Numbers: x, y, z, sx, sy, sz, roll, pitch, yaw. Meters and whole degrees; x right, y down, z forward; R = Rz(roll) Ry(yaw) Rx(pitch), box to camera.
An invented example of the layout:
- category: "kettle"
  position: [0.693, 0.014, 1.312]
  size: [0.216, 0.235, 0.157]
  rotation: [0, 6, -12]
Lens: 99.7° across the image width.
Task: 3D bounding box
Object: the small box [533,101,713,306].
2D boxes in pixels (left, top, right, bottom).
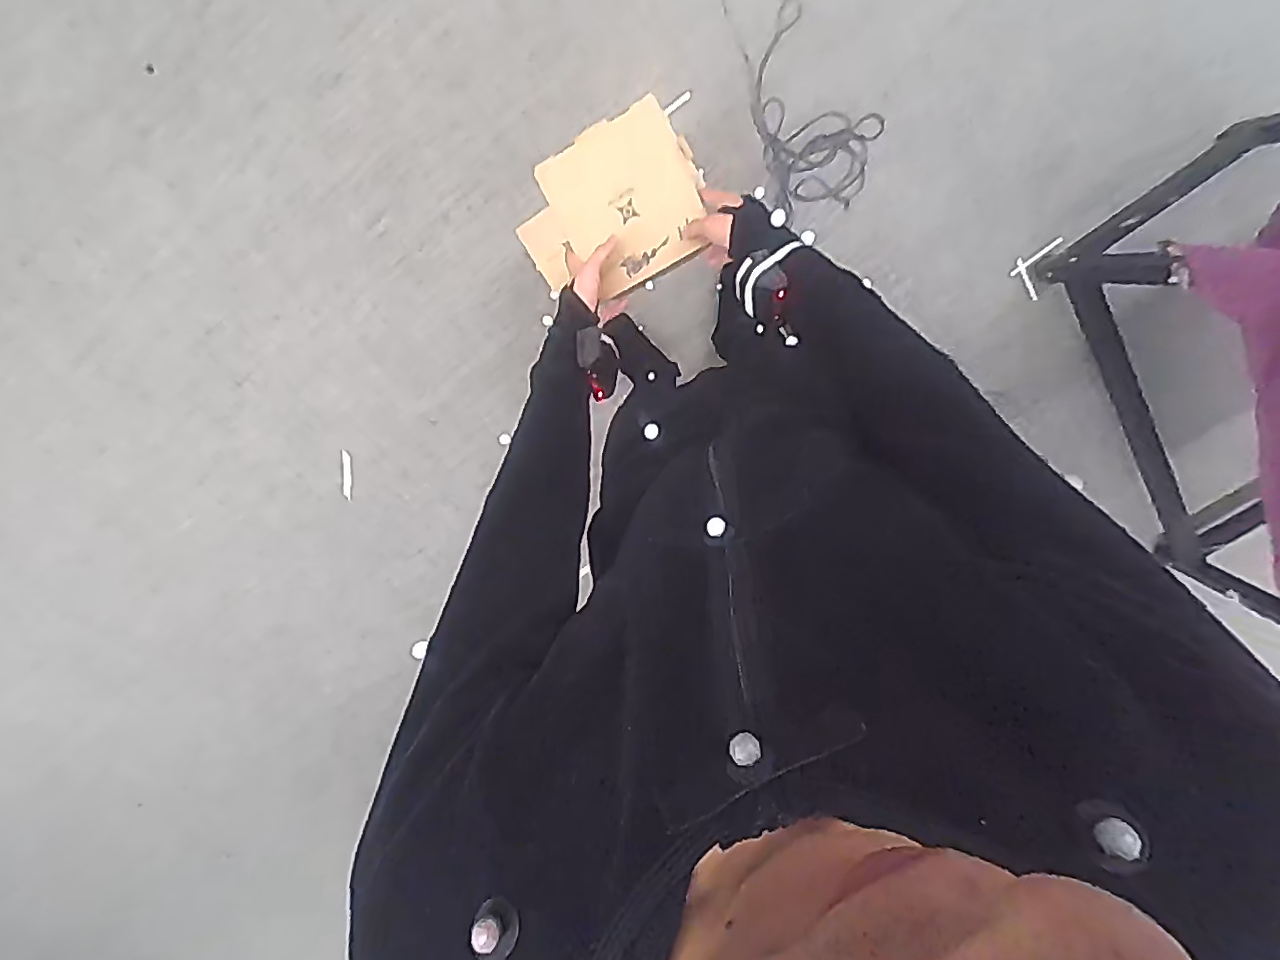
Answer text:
- category: "small box"
  position: [-0.014, -0.350, 0.724]
  size: [0.168, 0.176, 0.179]
  rotation: [-25, 105, 14]

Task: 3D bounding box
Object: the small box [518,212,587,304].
- category: "small box"
  position: [-0.139, -0.513, 1.190]
  size: [0.179, 0.176, 0.168]
  rotation: [-30, 109, 11]
